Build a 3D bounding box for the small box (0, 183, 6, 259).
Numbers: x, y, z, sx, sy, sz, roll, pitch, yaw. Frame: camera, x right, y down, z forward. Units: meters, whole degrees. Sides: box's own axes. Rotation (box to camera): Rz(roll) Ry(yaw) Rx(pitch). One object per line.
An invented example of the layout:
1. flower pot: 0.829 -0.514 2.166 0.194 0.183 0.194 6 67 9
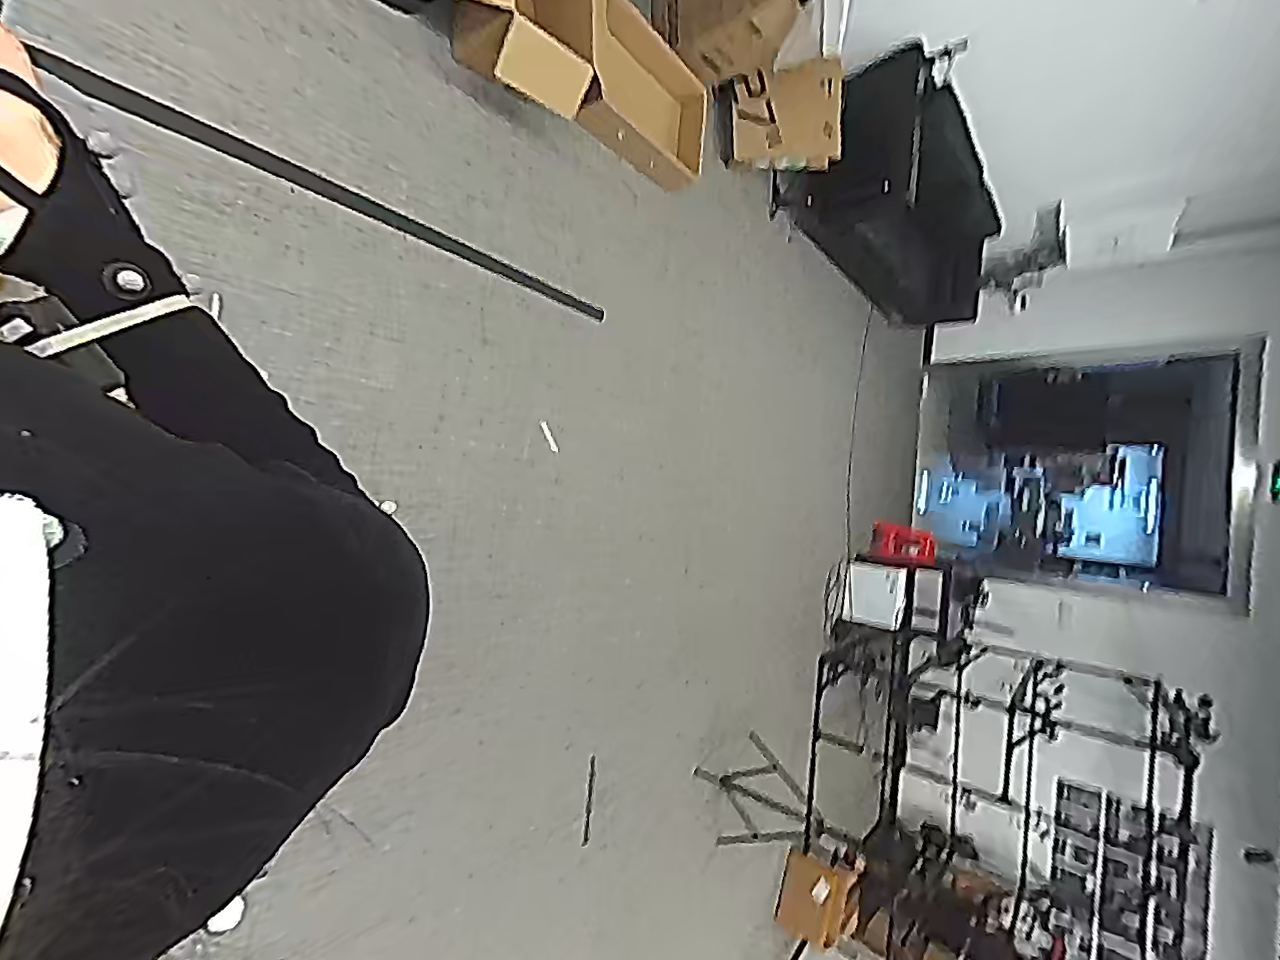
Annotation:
1. small box: -1.034 -0.355 0.757 0.179 0.176 0.168 7 88 -50
